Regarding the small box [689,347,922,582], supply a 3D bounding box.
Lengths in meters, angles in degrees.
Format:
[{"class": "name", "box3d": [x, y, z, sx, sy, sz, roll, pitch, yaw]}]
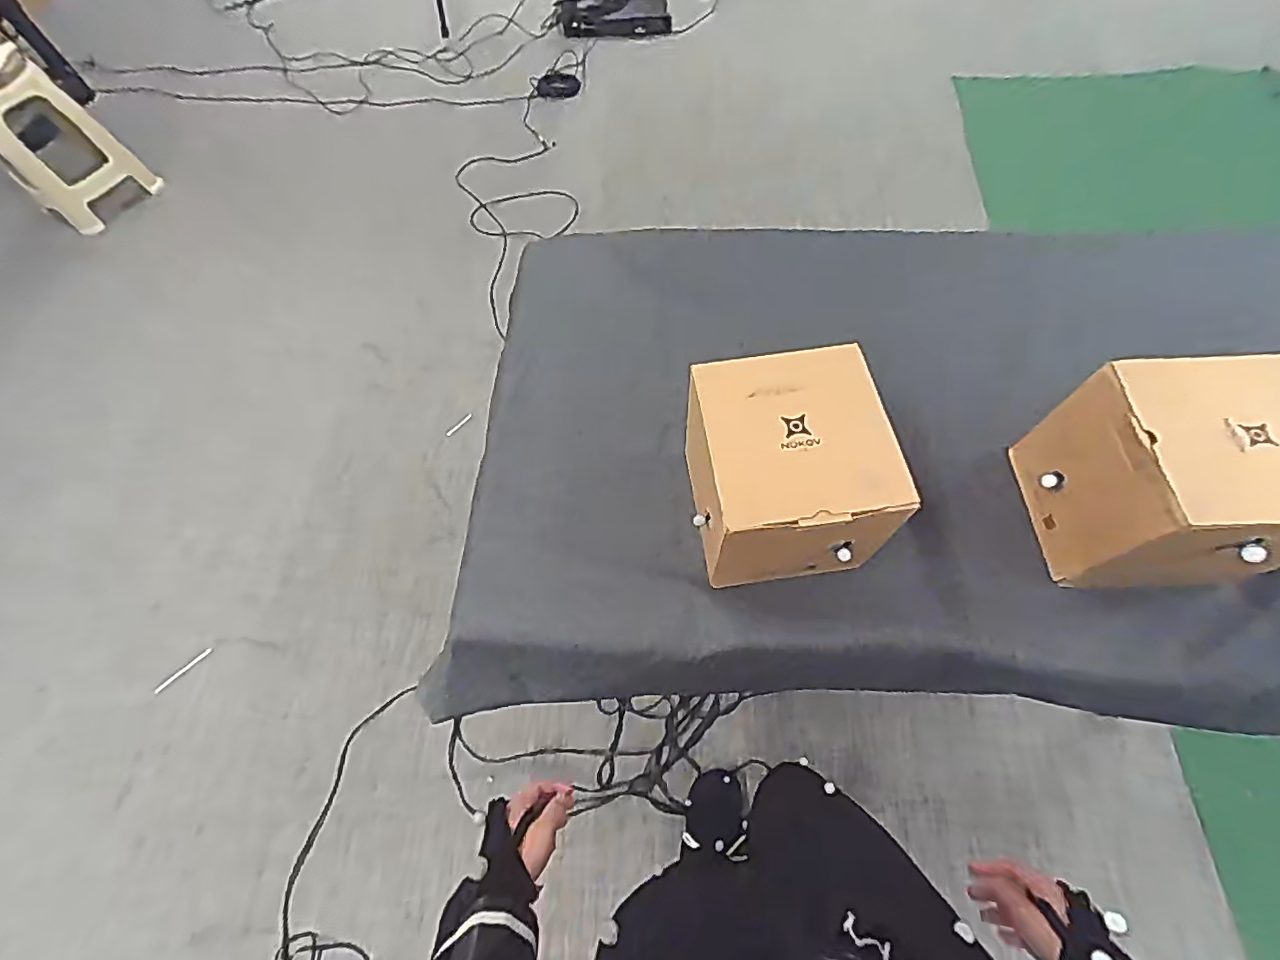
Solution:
[{"class": "small box", "box3d": [0.145, -0.004, 0.550, 0.168, 0.176, 0.179, -8, 61, -2]}]

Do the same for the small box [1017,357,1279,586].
[{"class": "small box", "box3d": [0.519, 0.000, 0.523, 0.179, 0.176, 0.168, -2, 63, 4]}]
